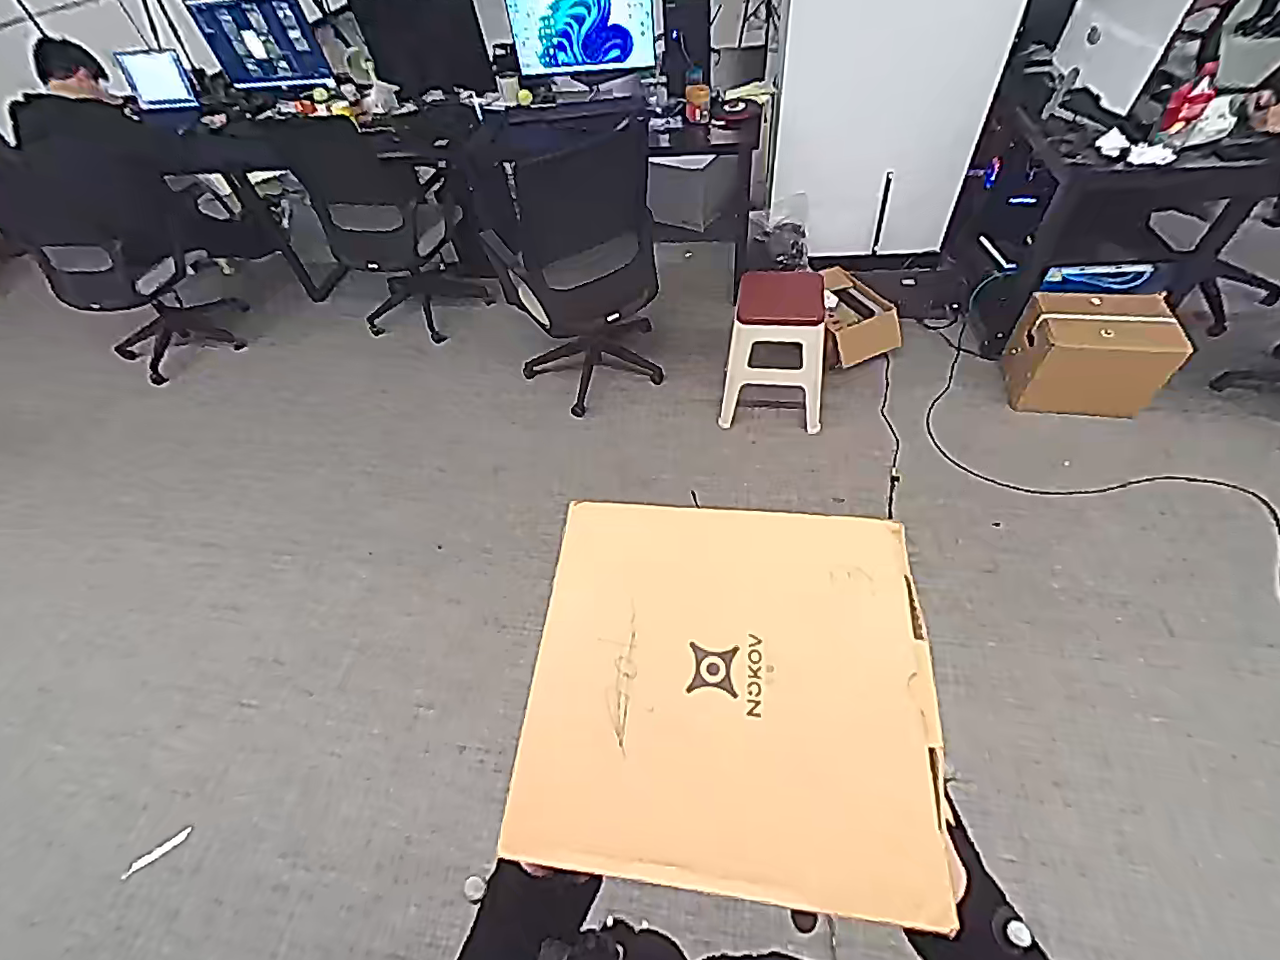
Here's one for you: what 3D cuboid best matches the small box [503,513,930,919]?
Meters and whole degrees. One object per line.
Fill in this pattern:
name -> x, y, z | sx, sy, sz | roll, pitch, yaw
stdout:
small box -> 0.045, 0.136, 0.327 | 0.179, 0.176, 0.168 | 2, 57, 9
